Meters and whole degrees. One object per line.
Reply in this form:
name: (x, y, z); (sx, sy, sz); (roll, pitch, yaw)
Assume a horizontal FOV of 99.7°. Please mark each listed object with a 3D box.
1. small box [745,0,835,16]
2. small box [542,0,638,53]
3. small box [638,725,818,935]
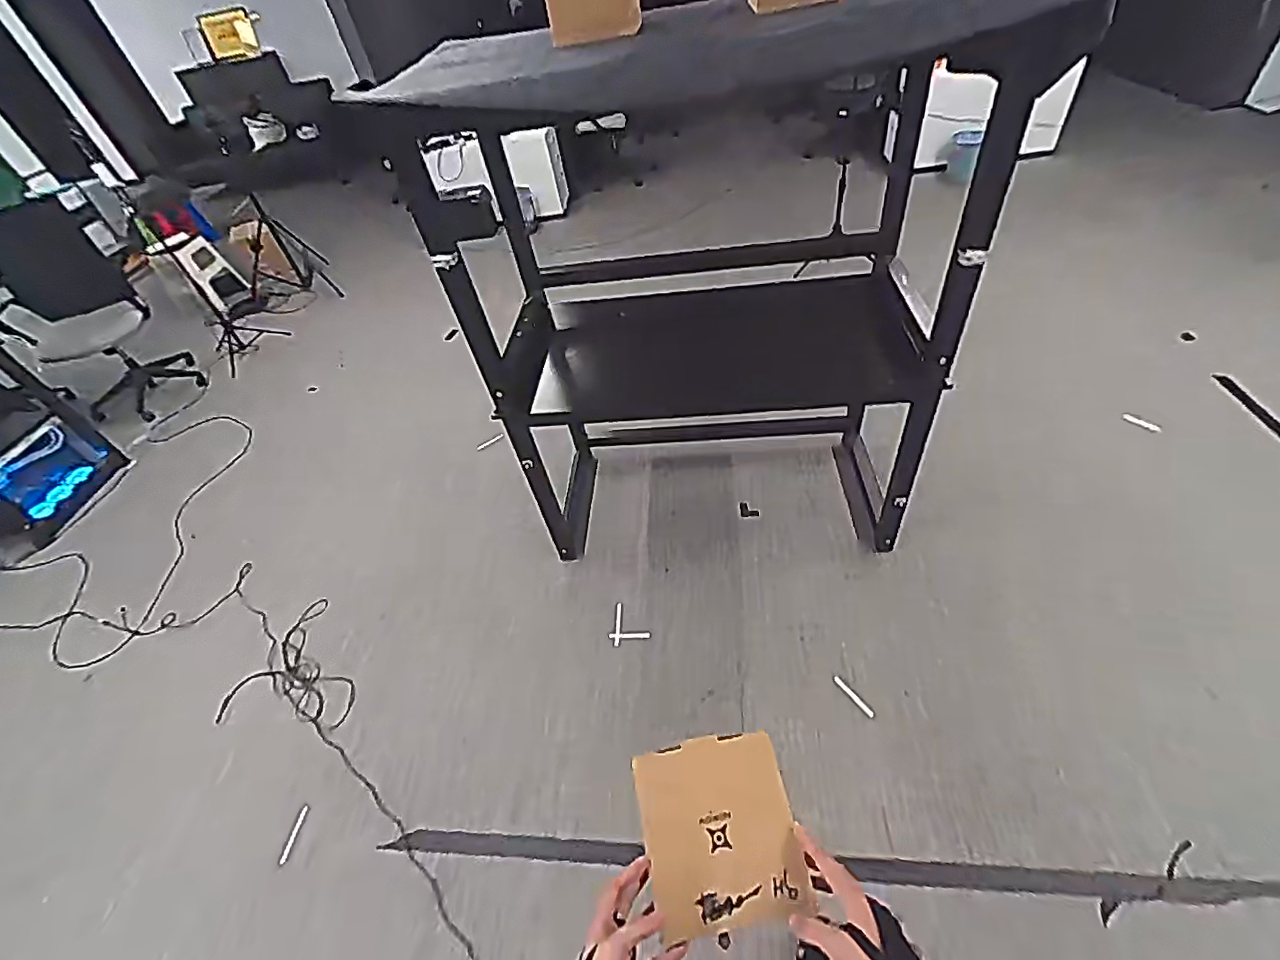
small box: (0.294, -1.027, 1.049); (0.168, 0.176, 0.179); (-4, 47, 7)
small box: (-0.102, -1.006, 1.108); (0.179, 0.176, 0.168); (-3, 47, 9)
small box: (0.097, 0.419, 0.659); (0.168, 0.176, 0.179); (-12, 57, 0)
